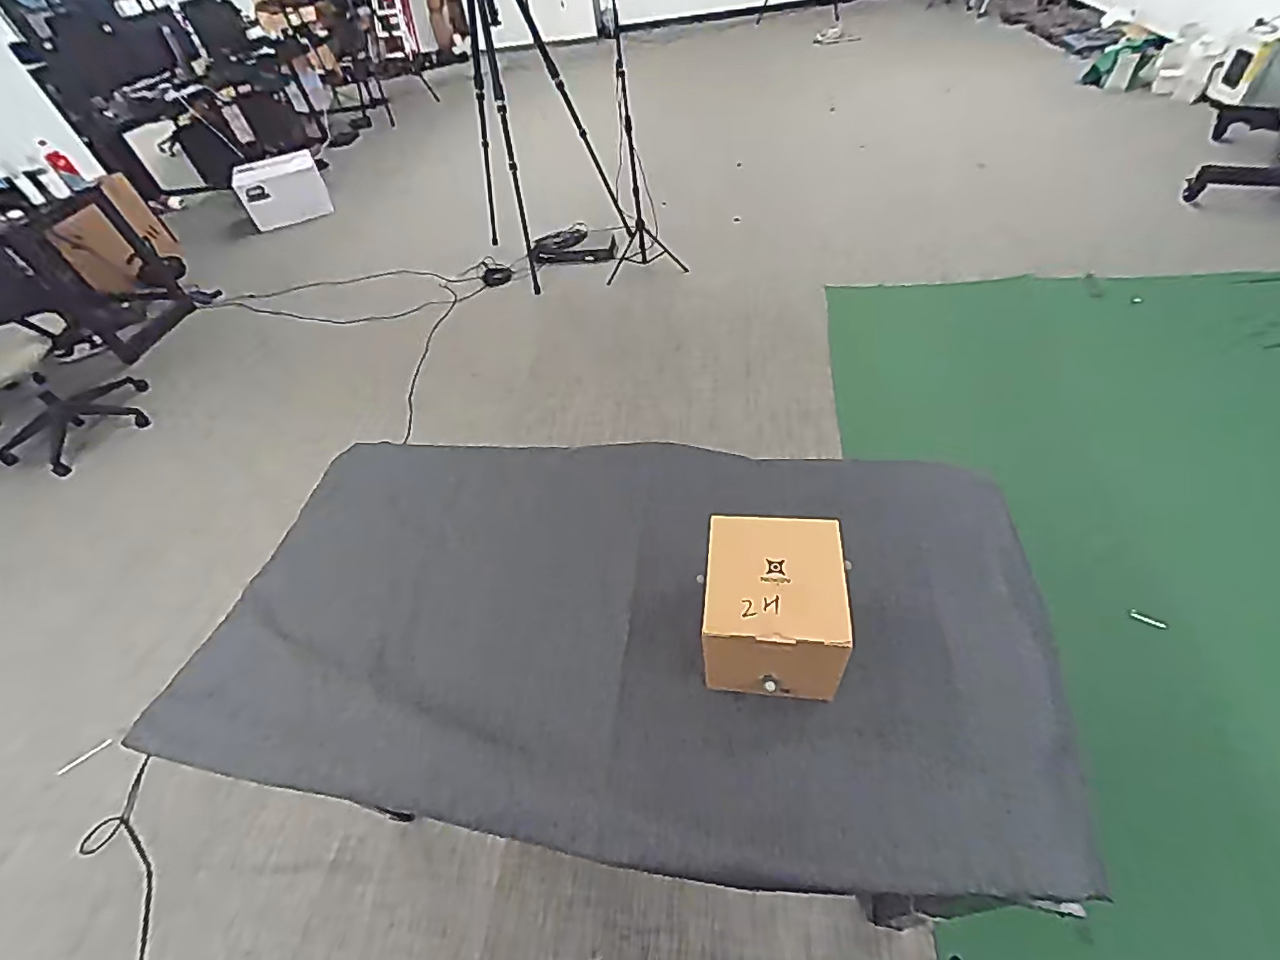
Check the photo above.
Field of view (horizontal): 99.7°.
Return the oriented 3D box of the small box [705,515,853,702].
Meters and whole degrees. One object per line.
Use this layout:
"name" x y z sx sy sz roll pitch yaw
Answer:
"small box" 0.177 0.169 0.719 0.168 0.176 0.179 2 48 12
